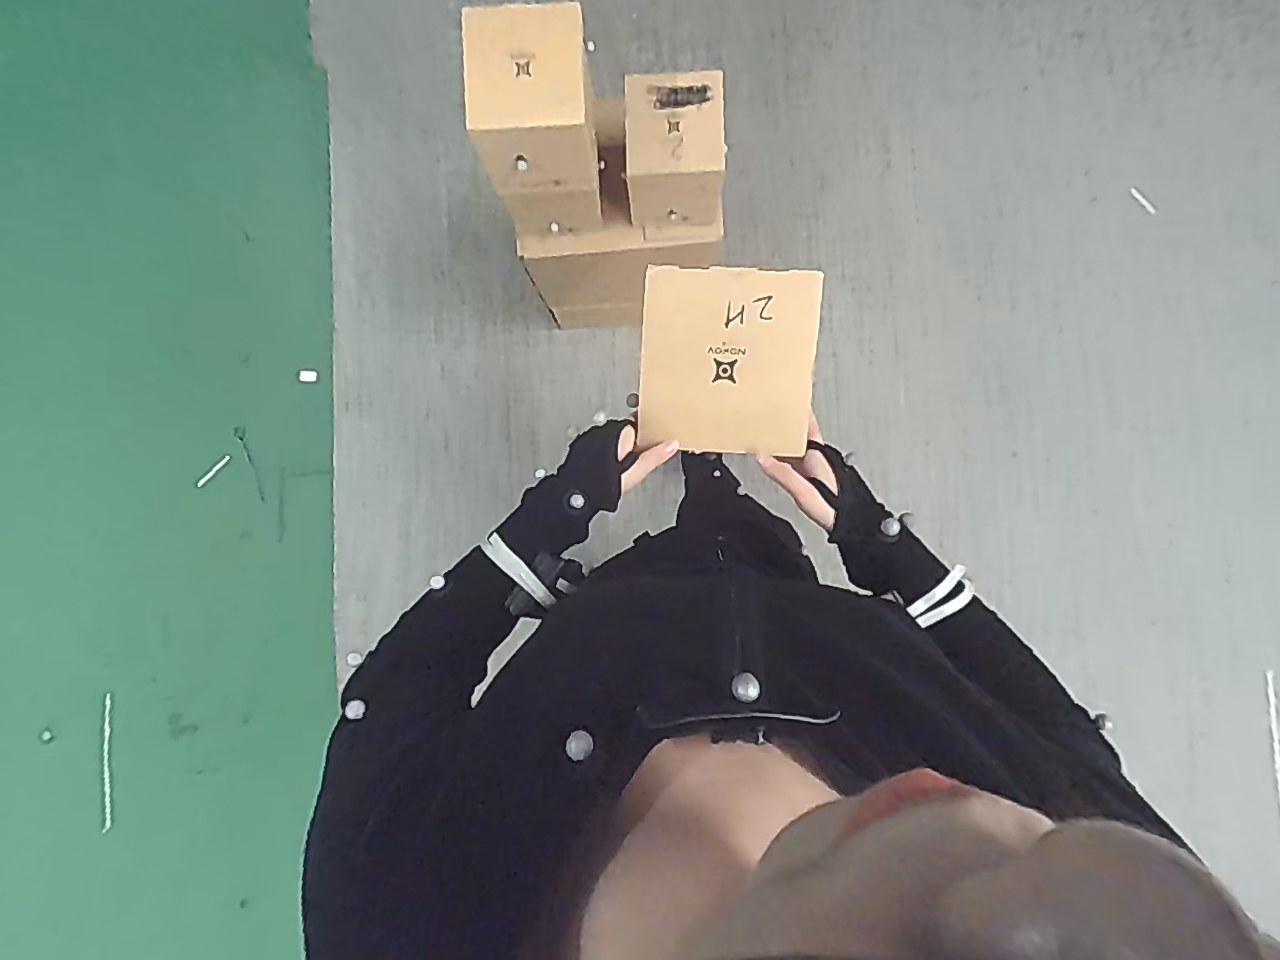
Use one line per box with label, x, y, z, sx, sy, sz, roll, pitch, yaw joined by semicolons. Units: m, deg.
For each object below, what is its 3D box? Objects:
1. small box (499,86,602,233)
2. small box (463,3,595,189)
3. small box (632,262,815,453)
small box;-0.158;-0.578;0.990;0.168;0.176;0.179;-2;90;0
small box;-0.160;-0.569;0.827;0.168;0.176;0.179;-3;89;0
small box;0.087;-0.130;0.606;0.168;0.176;0.179;5;99;5
